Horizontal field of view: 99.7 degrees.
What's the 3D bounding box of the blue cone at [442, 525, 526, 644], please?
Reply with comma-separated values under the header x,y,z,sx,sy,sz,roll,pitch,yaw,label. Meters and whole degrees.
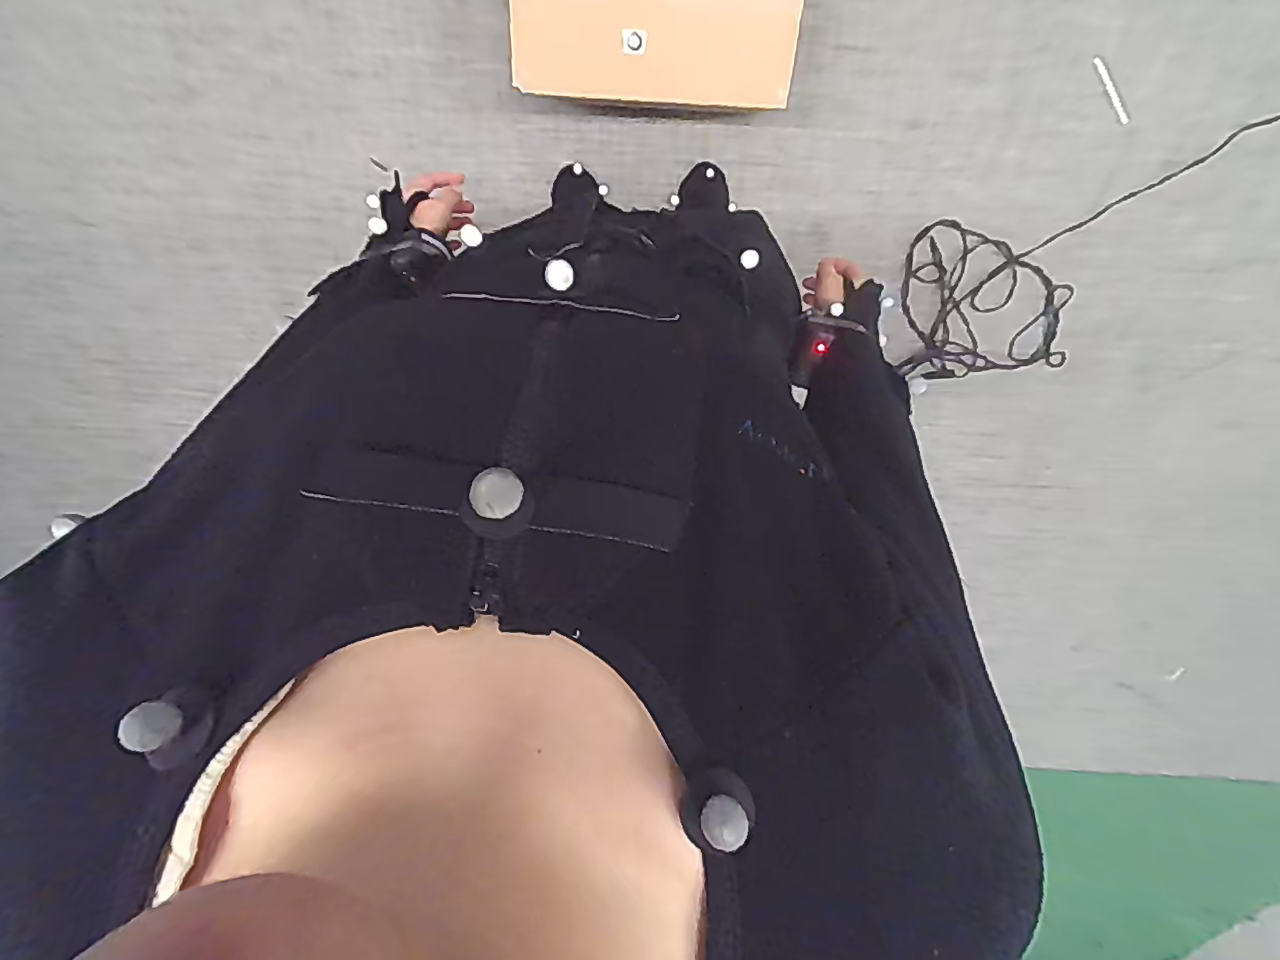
x,y,z,sx,sy,sz,roll,pitch,yaw,label
-0.452,0.298,1.494,0.192,0.380,0.193,4,121,2,blue cone
